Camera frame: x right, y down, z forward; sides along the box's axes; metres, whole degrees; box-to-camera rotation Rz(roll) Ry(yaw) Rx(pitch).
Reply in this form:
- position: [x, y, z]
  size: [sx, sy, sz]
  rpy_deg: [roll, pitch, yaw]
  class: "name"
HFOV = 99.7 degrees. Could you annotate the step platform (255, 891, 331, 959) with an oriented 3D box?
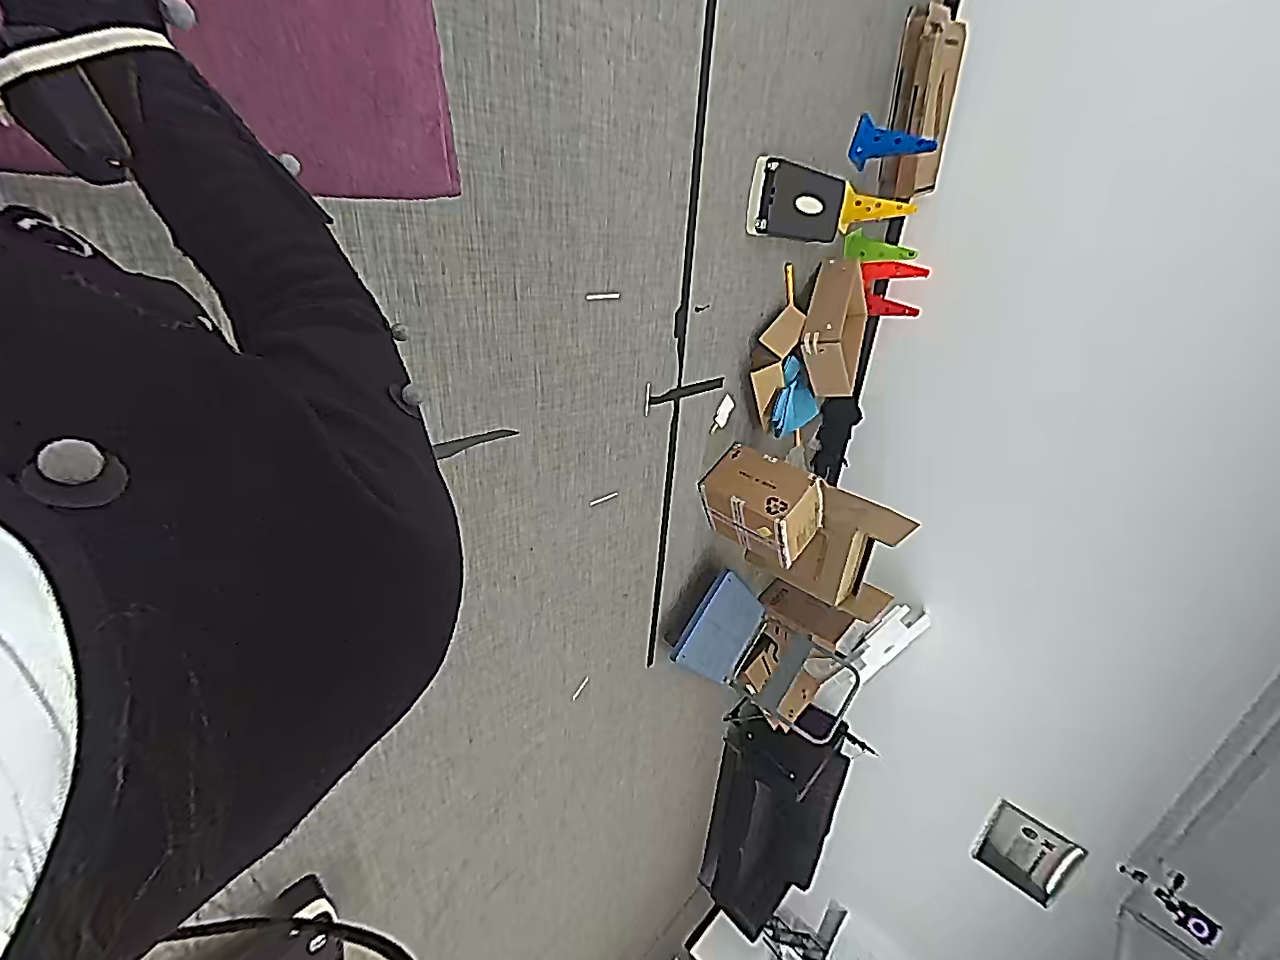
- position: [-1.283, 1.582, 1.559]
  size: [0.684, 0.204, 0.286]
  rpy_deg: [-23, 128, -43]
  class: "step platform"
